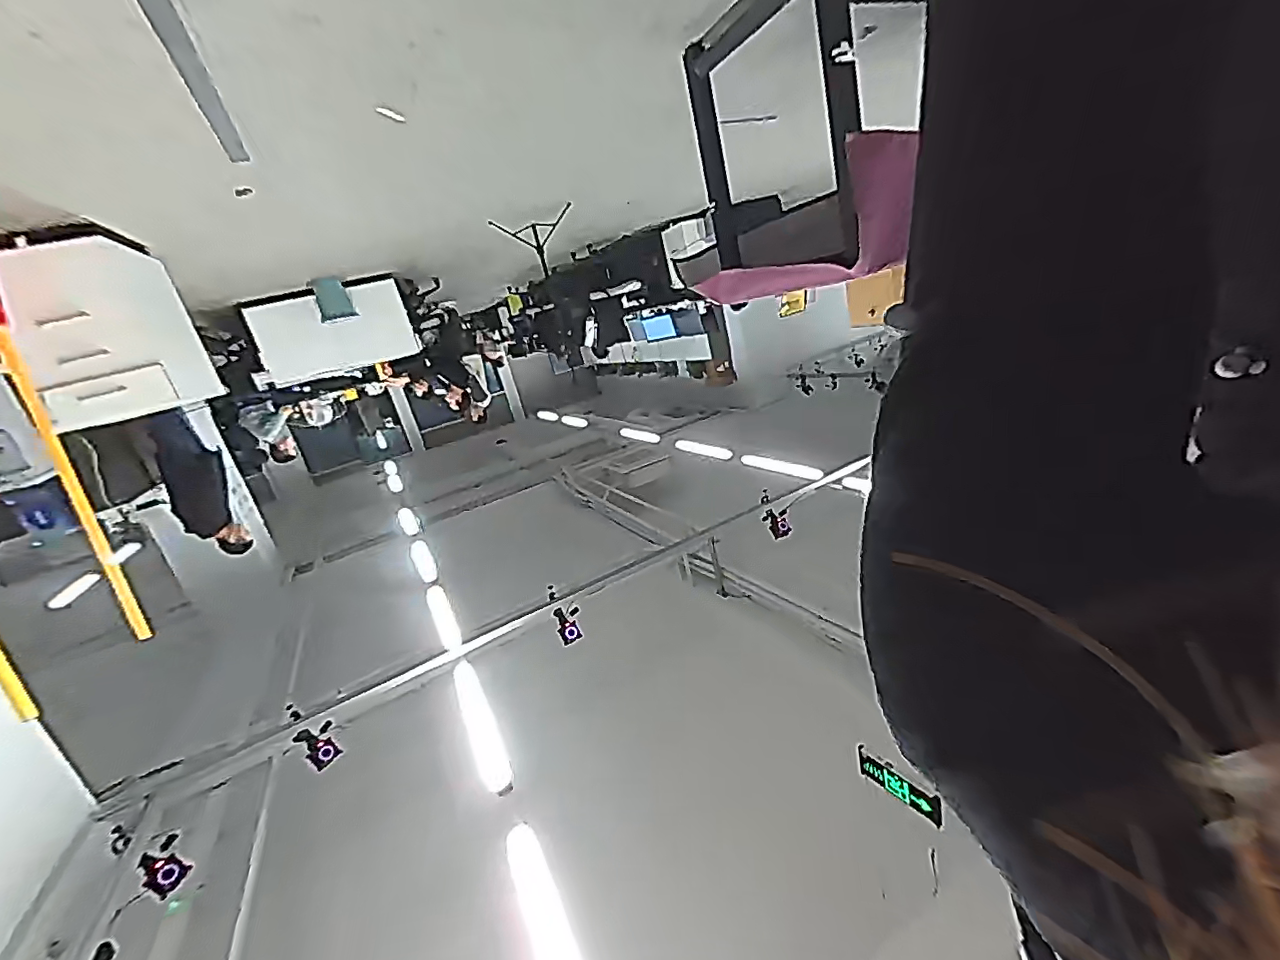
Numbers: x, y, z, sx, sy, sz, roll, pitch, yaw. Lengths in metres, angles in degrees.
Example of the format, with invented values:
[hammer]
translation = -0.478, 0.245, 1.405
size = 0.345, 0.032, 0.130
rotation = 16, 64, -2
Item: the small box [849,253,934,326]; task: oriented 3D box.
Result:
[small box]
translation = 0.747, -0.568, 1.615
size = 0.168, 0.176, 0.179
rotation = -21, -161, -21
